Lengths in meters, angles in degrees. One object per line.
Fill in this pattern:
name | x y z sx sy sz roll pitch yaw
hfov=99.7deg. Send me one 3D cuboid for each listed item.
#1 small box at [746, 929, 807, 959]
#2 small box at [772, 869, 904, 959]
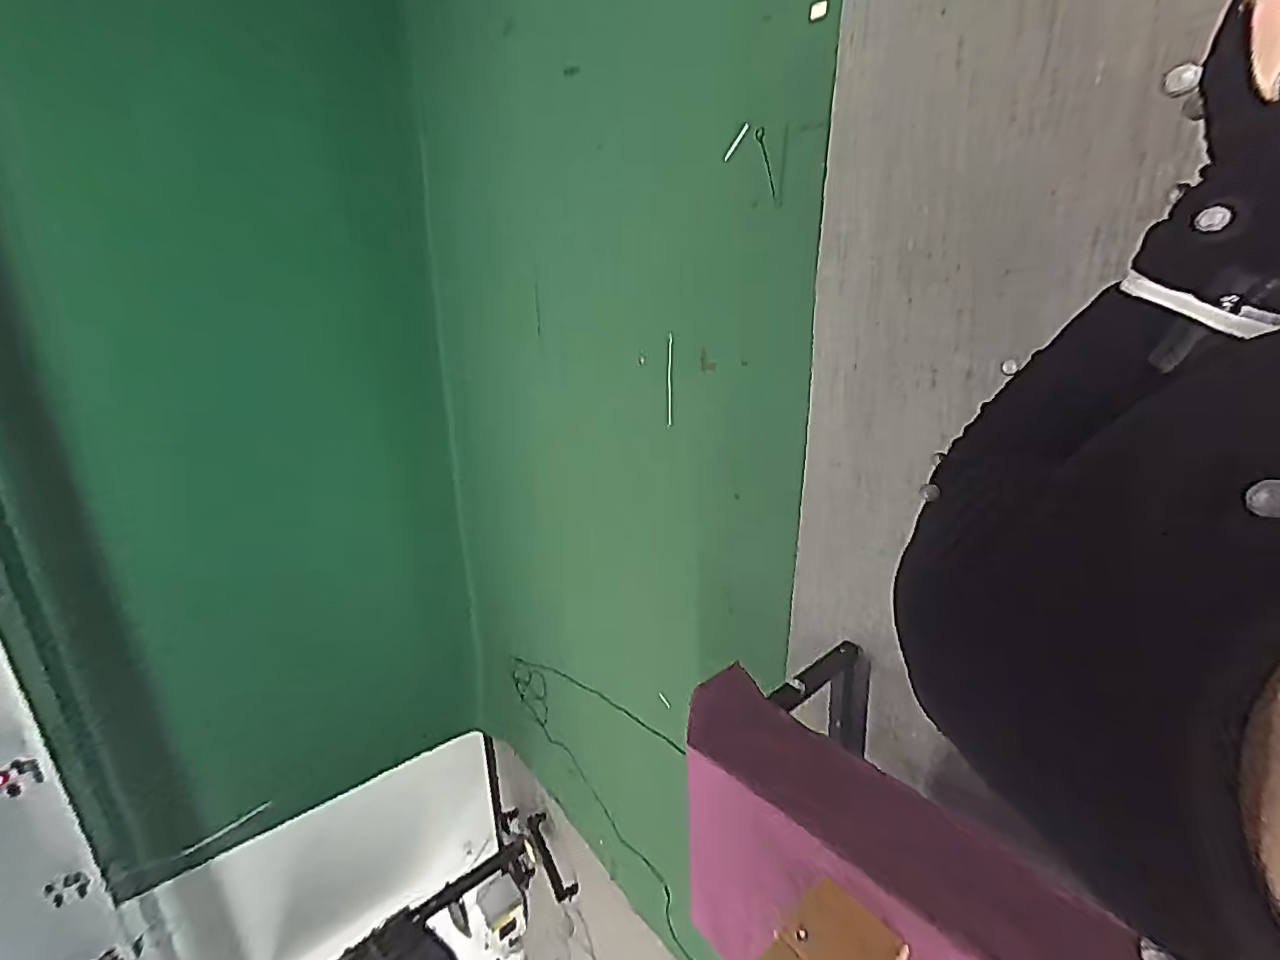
small box | 0.238 0.929 0.913 0.168 0.176 0.179 23 119 47
small box | 0.365 0.889 1.010 0.179 0.176 0.168 20 117 48
